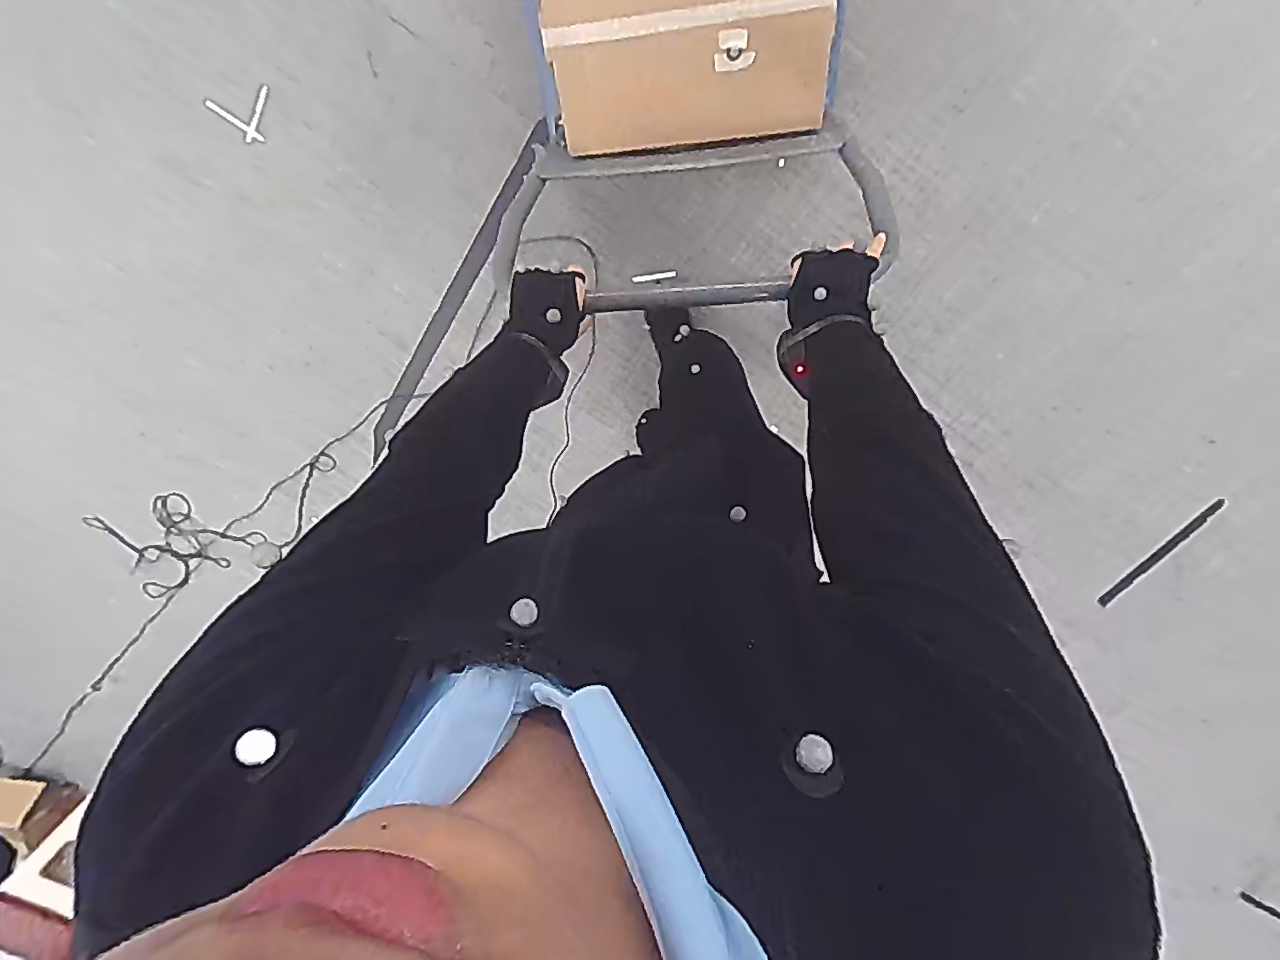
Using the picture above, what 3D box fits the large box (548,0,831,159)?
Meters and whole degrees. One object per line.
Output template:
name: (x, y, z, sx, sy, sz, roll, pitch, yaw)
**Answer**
large box: (0.078, -0.758, 0.887, 0.408, 0.320, 0.320, -3, 132, 7)
